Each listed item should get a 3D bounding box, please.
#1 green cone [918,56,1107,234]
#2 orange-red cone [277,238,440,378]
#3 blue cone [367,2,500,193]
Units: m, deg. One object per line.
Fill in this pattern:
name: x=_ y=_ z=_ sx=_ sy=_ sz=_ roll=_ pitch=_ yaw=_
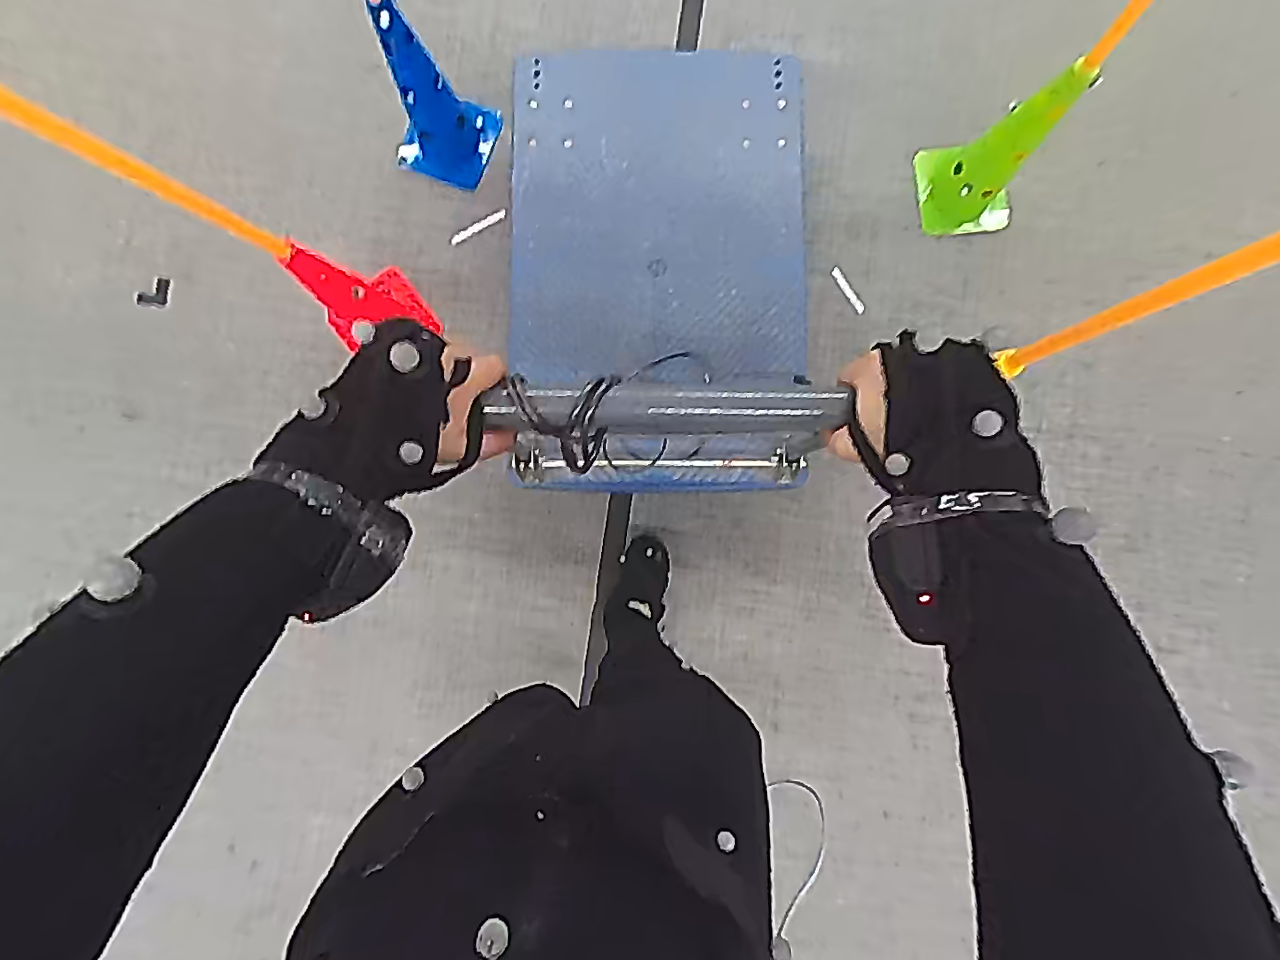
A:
green cone: x=0.741 y=-0.672 z=1.062 sx=0.200 sy=0.368 sz=0.202 roll=-6 pitch=88 yaw=0
orange-red cone: x=-0.572 y=-0.365 z=1.048 sx=0.199 sy=0.360 sz=0.198 roll=-37 pitch=88 yaw=-3
blue cone: x=-0.435 y=-0.785 z=1.089 sx=0.193 sy=0.380 sz=0.192 roll=23 pitch=87 yaw=1
